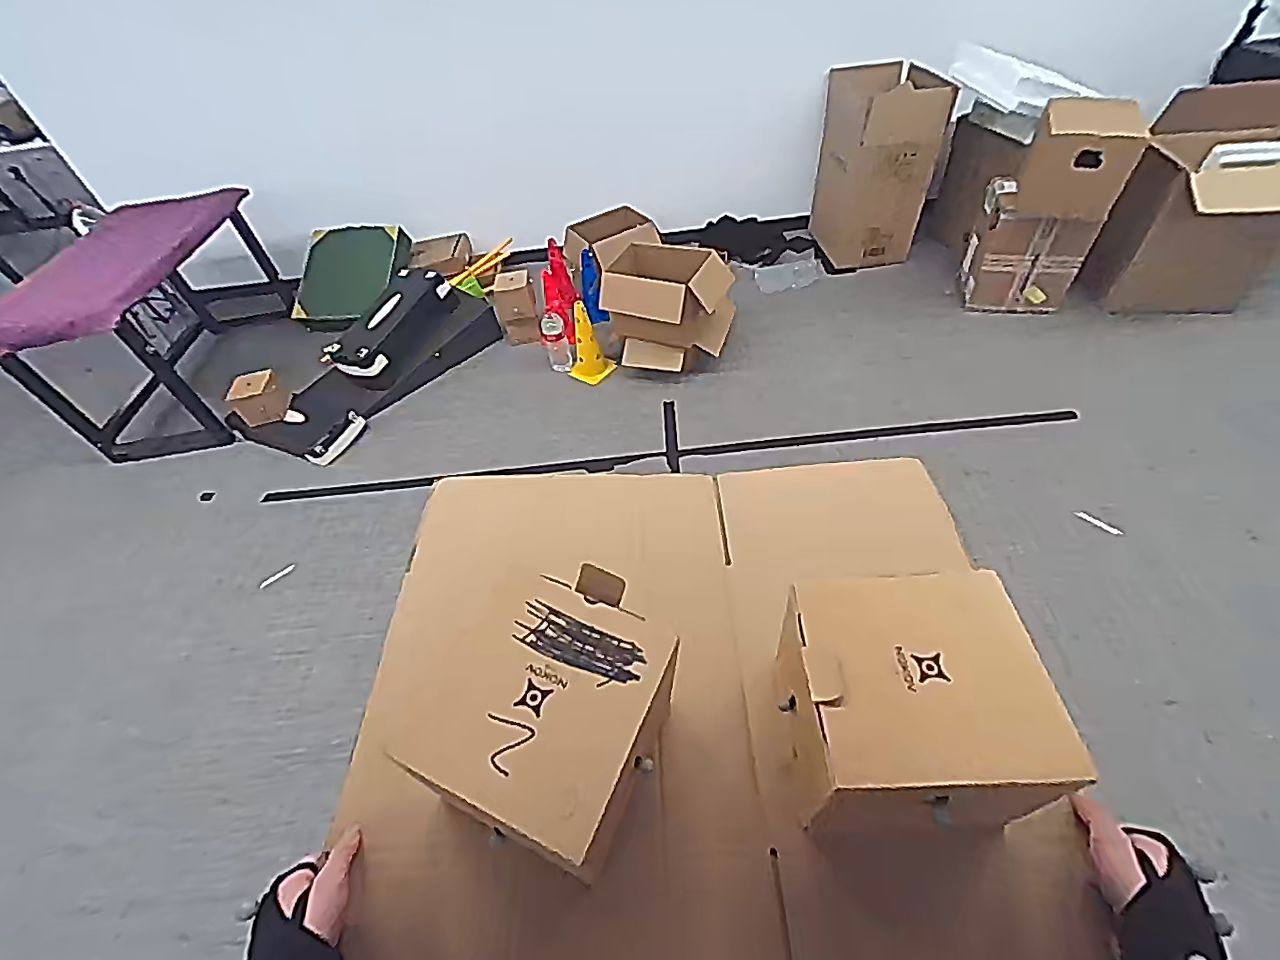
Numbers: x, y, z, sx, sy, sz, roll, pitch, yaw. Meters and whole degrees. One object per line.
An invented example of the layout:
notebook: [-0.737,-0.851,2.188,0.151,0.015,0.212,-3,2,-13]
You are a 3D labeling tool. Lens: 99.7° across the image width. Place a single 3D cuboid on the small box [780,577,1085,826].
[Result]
small box: [0.234,0.205,0.494,0.179,0.176,0.168,-5,49,5]
